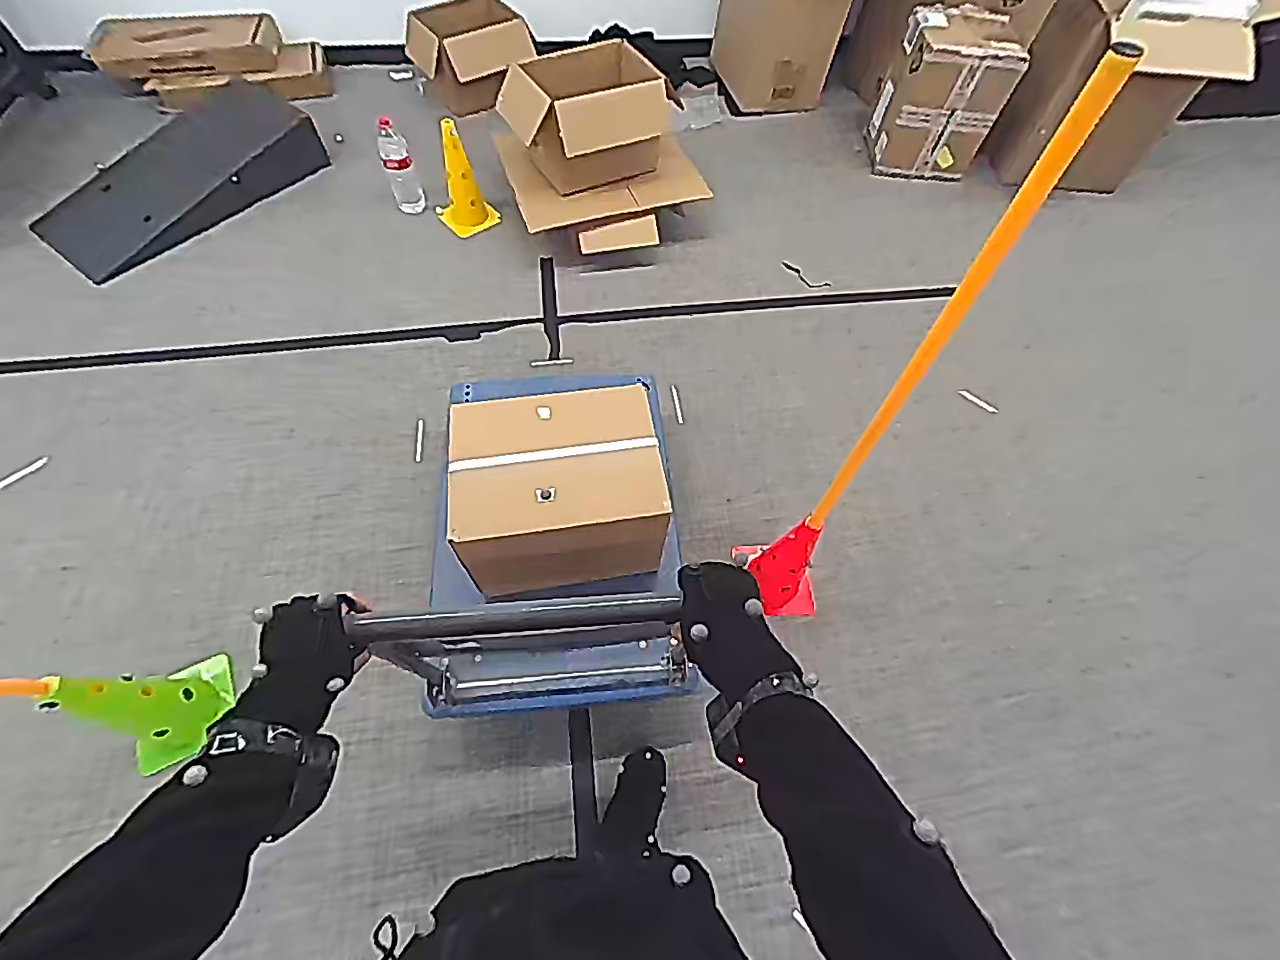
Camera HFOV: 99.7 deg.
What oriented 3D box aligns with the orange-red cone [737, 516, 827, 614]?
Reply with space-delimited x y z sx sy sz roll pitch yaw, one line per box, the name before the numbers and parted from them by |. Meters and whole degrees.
orange-red cone | 0.371 0.176 1.297 0.199 0.360 0.198 0 61 -4
